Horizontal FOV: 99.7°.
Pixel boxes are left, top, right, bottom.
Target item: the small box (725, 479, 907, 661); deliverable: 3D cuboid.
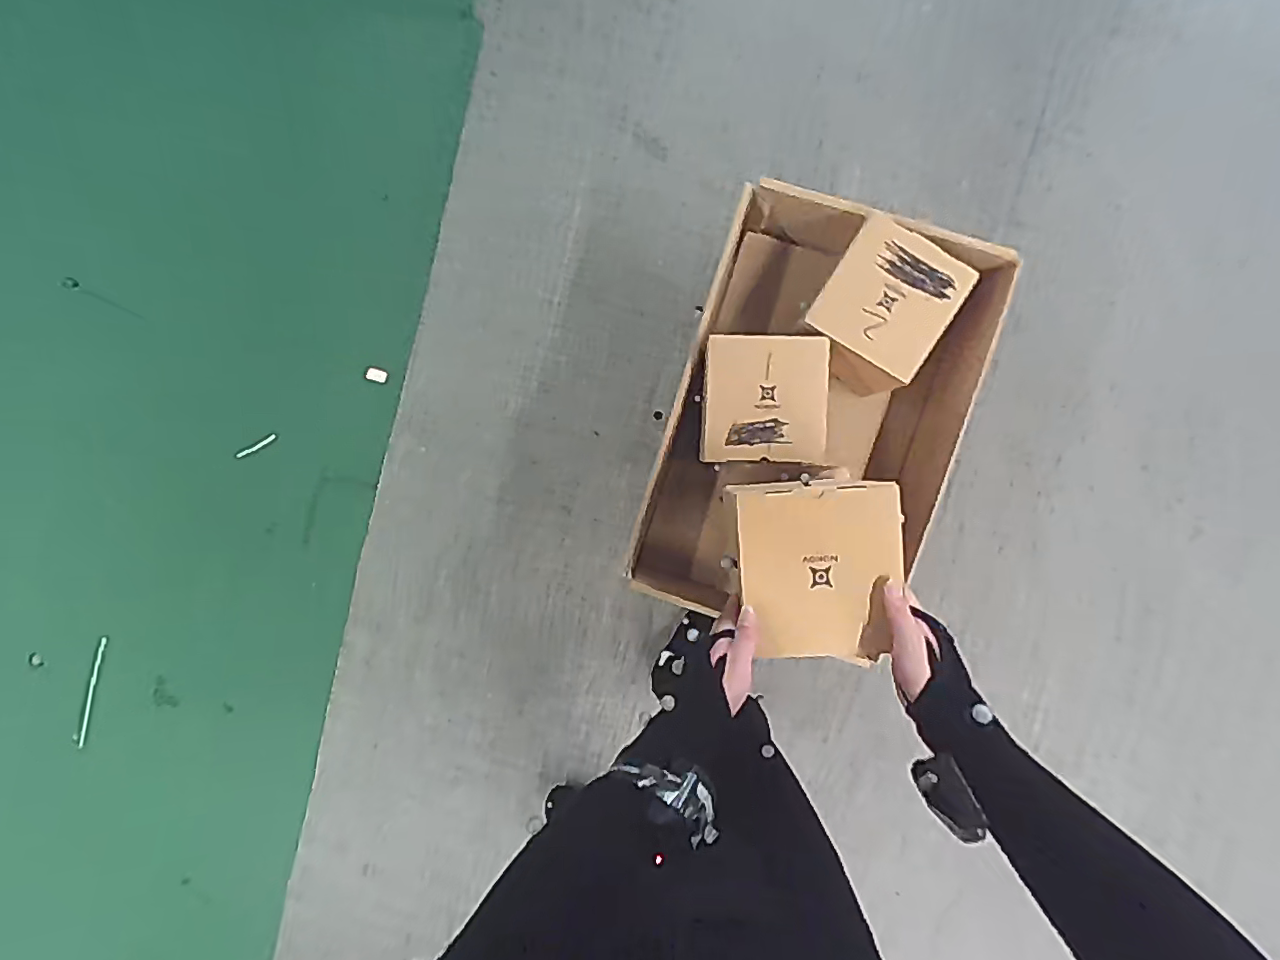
[{"bbox_3d":[0.188,0.092,0.622,0.168,0.176,0.179,-5,90,6],"label":"small box"}]
